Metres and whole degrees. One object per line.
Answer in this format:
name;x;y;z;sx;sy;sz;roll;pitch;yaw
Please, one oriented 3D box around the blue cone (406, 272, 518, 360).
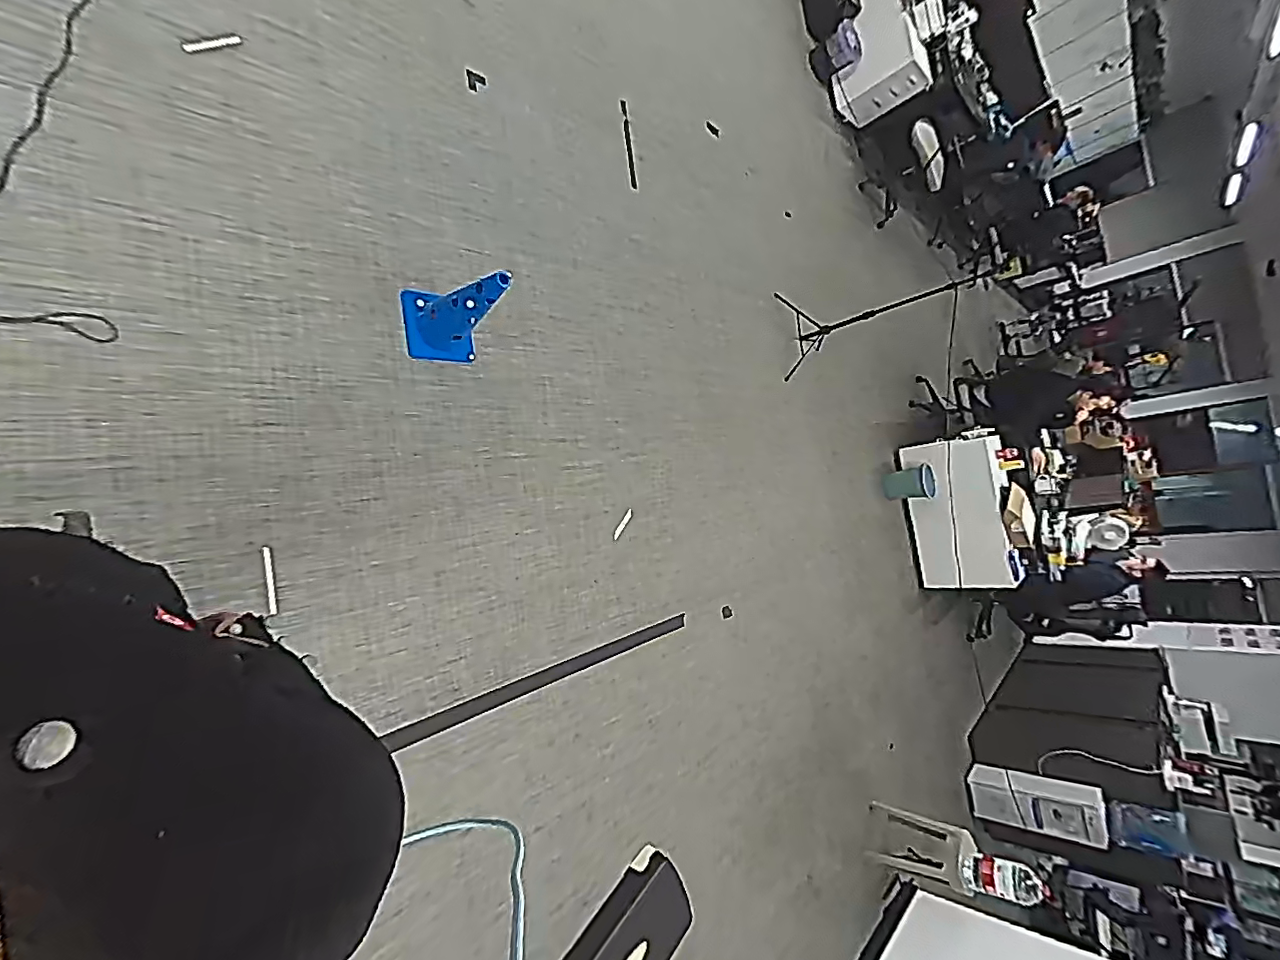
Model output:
blue cone;-0.454;-0.464;1.439;0.192;0.380;0.193;-5;85;-47
